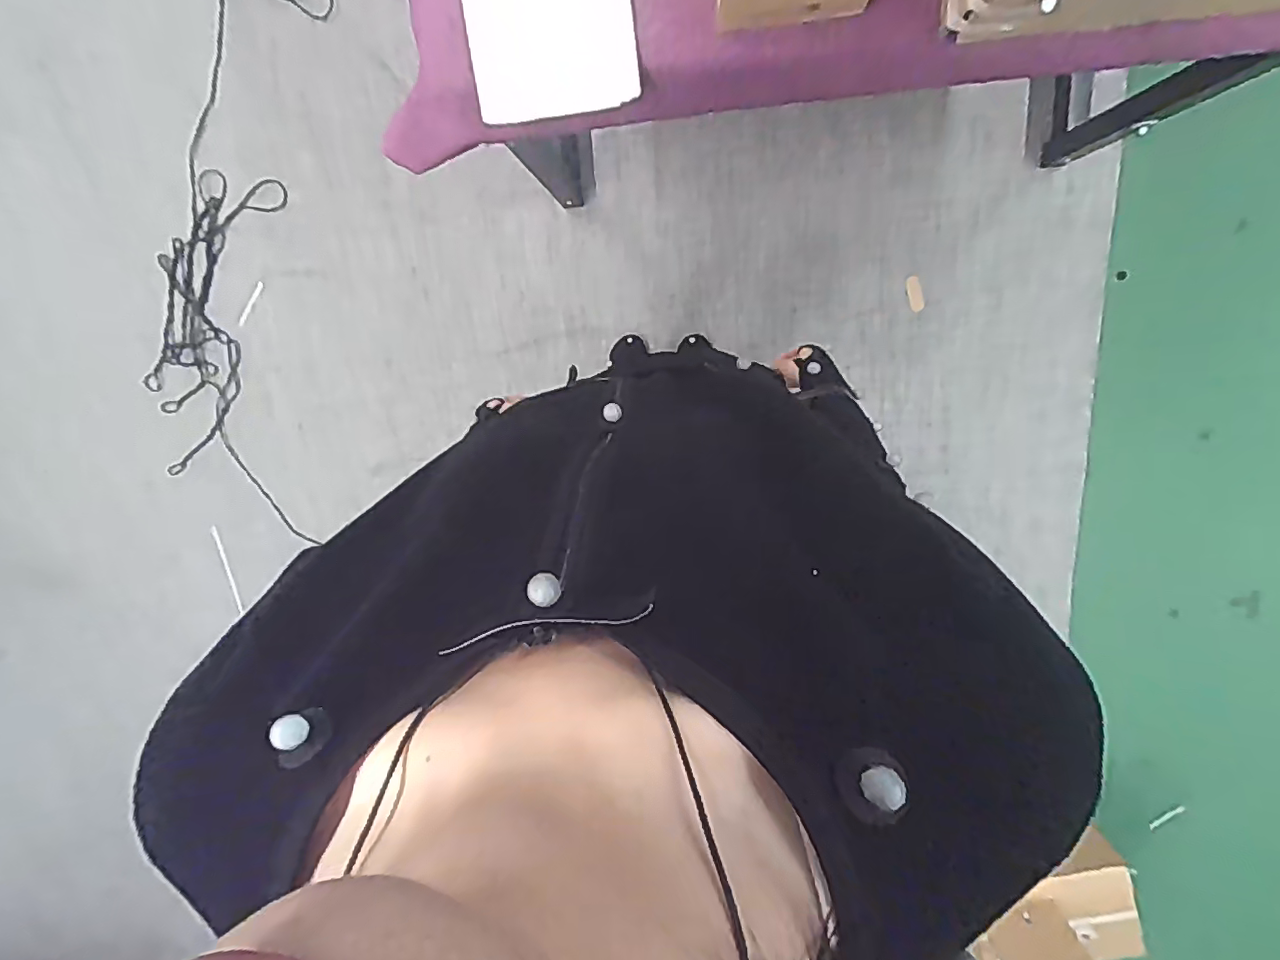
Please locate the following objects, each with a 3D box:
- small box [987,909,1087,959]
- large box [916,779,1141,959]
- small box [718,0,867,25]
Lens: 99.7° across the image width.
[{"bbox_3d":[0.991,1.211,1.339,0.179,0.176,0.168,-13,102,8],"label":"small box"},{"bbox_3d":[1.096,1.145,1.567,0.408,0.320,0.320,-18,103,8],"label":"large box"},{"bbox_3d":[0.163,-0.587,0.527,0.168,0.176,0.179,-2,102,5],"label":"small box"}]
